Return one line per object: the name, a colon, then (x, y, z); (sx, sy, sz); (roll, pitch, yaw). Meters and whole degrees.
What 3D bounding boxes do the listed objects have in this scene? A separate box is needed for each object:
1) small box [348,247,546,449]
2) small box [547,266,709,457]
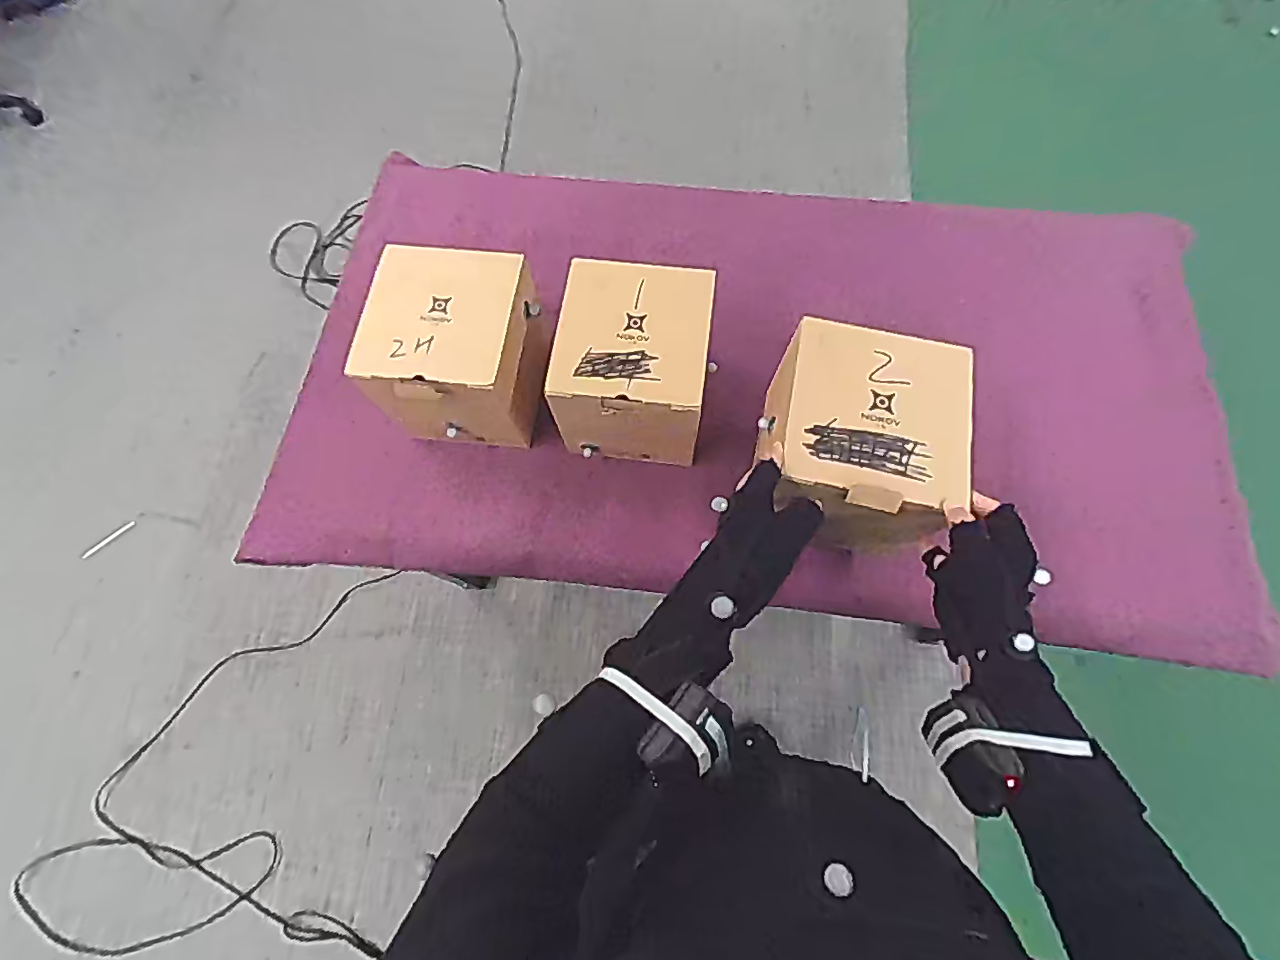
small box: (-0.221, -0.156, 0.674); (0.168, 0.176, 0.179); (5, 72, 4)
small box: (-0.002, -0.135, 0.663); (0.168, 0.176, 0.179); (3, 73, 7)
